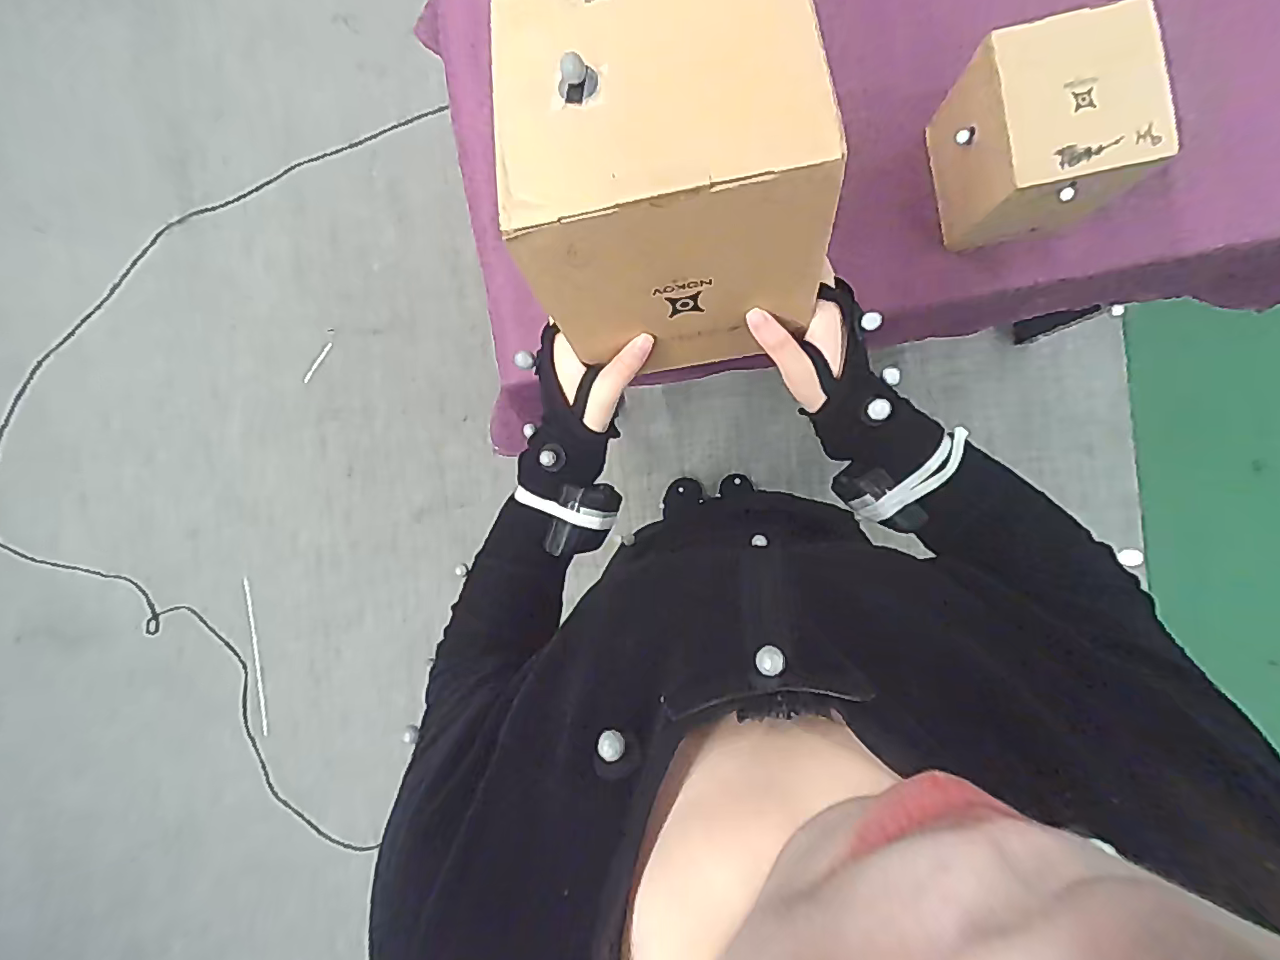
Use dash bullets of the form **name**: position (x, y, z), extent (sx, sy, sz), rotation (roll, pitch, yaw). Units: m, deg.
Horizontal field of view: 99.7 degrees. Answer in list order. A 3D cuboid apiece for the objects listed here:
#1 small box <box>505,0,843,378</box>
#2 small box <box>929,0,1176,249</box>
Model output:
- **small box**: position (0.019, -0.190, 0.354), extent (0.168, 0.179, 0.176), rotation (-7, 76, 9)
- **small box**: position (0.477, -0.413, 0.655), extent (0.168, 0.176, 0.179), rotation (-10, 89, 7)
